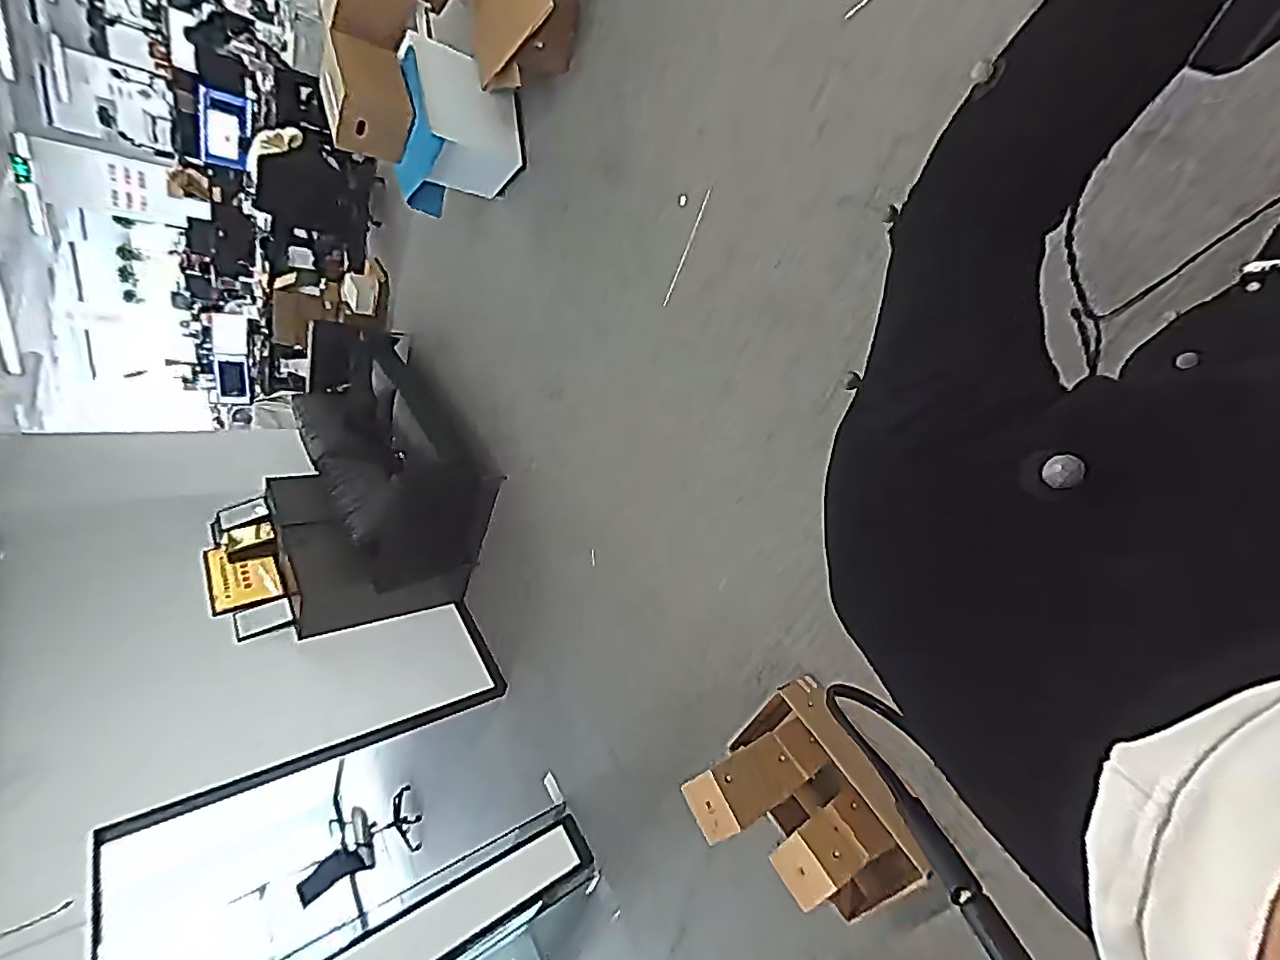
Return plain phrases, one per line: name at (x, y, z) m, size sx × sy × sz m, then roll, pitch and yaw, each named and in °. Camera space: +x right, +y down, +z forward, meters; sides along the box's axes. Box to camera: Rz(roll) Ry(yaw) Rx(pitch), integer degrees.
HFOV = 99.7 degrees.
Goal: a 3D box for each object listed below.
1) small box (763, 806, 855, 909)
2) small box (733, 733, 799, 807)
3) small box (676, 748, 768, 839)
small box at (0.508, 1.115, 1.610) m, size 0.168 × 0.176 × 0.179 m, roll 49°, pitch 128°, yaw 36°
small box at (0.371, 0.945, 1.744) m, size 0.179 × 0.176 × 0.168 m, roll 52°, pitch 129°, yaw 31°
small box at (0.248, 0.938, 1.632) m, size 0.168 × 0.176 × 0.179 m, roll -52°, pitch 57°, yaw 37°
